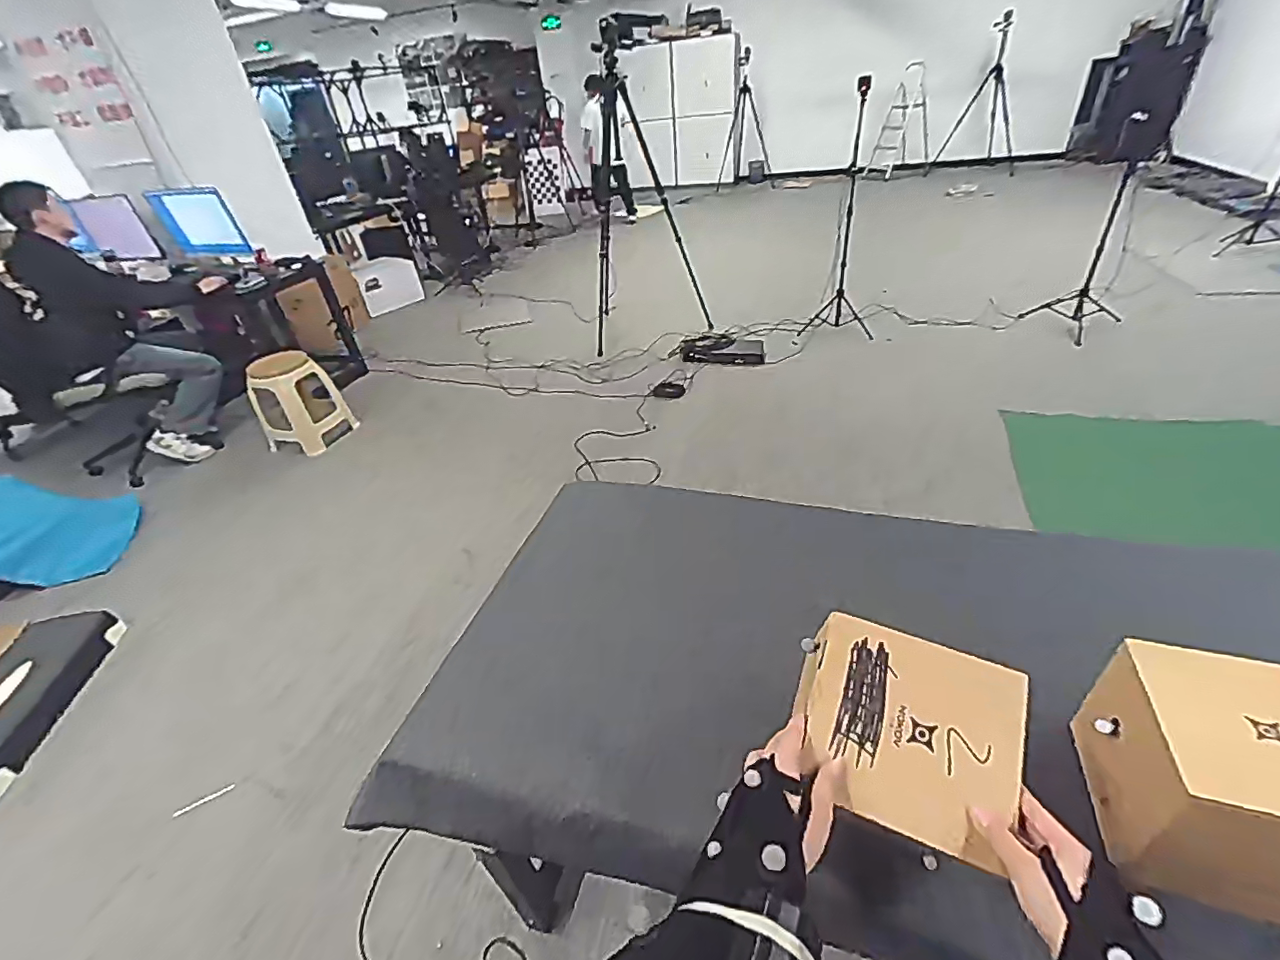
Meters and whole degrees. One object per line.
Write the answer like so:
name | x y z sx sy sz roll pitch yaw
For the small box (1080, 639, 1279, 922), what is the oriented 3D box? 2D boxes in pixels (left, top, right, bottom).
small box | 0.561 0.286 0.517 0.179 0.176 0.168 7 38 19
